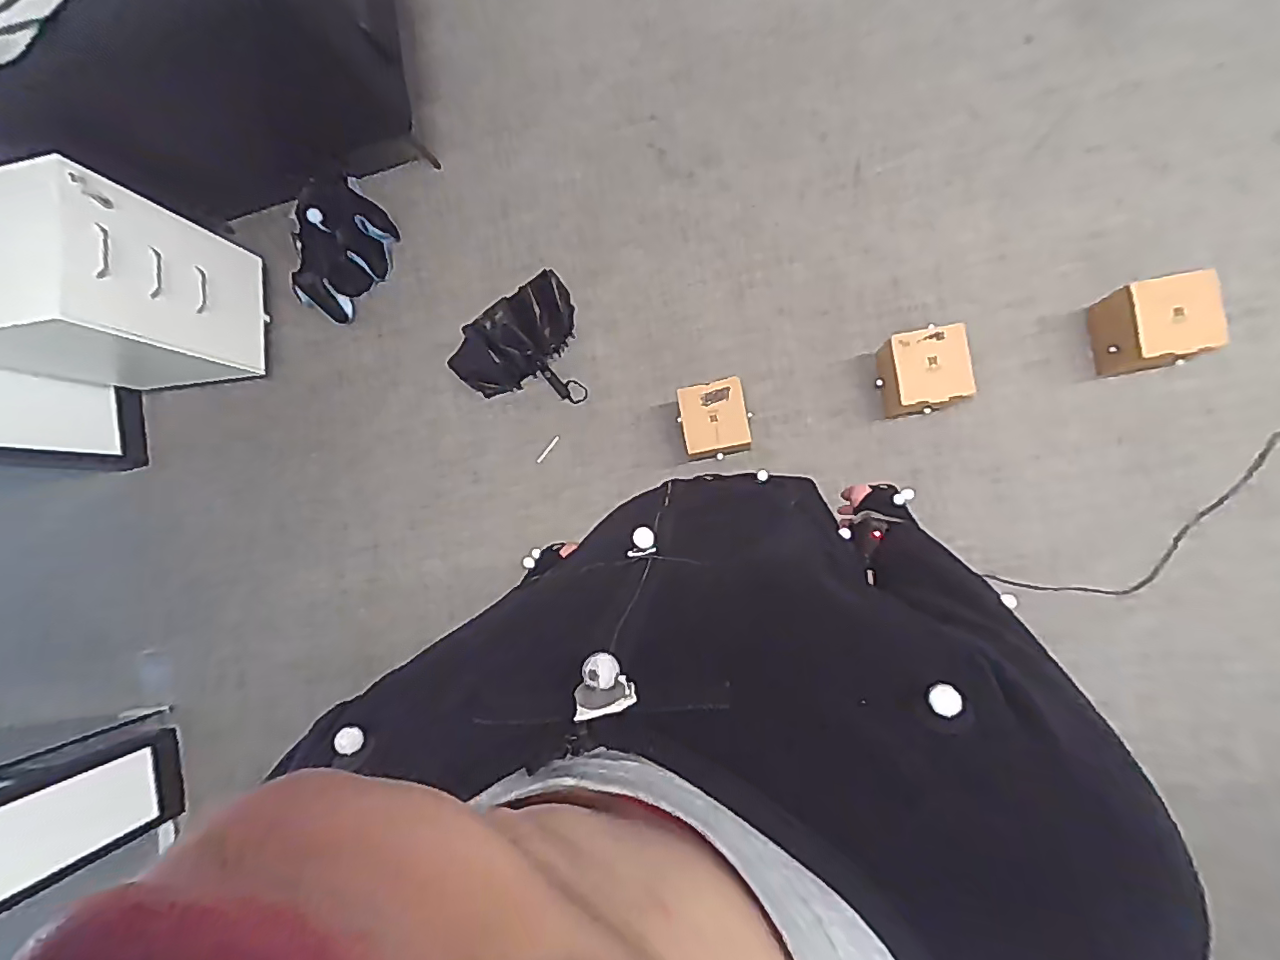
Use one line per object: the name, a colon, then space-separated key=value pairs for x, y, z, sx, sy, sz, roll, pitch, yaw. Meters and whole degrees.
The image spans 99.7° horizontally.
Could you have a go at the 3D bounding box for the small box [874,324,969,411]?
small box: x=0.706 y=-0.275 z=1.370 sx=0.168 sy=0.176 sz=0.179 roll=-8 pitch=87 yaw=12

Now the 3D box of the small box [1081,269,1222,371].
small box: x=1.188 y=-0.363 z=1.270 sx=0.168 sy=0.176 sz=0.179 roll=-8 pitch=85 yaw=11

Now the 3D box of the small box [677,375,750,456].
small box: x=0.204 y=-0.170 z=1.473 sx=0.168 sy=0.176 sz=0.179 roll=-10 pitch=87 yaw=12
